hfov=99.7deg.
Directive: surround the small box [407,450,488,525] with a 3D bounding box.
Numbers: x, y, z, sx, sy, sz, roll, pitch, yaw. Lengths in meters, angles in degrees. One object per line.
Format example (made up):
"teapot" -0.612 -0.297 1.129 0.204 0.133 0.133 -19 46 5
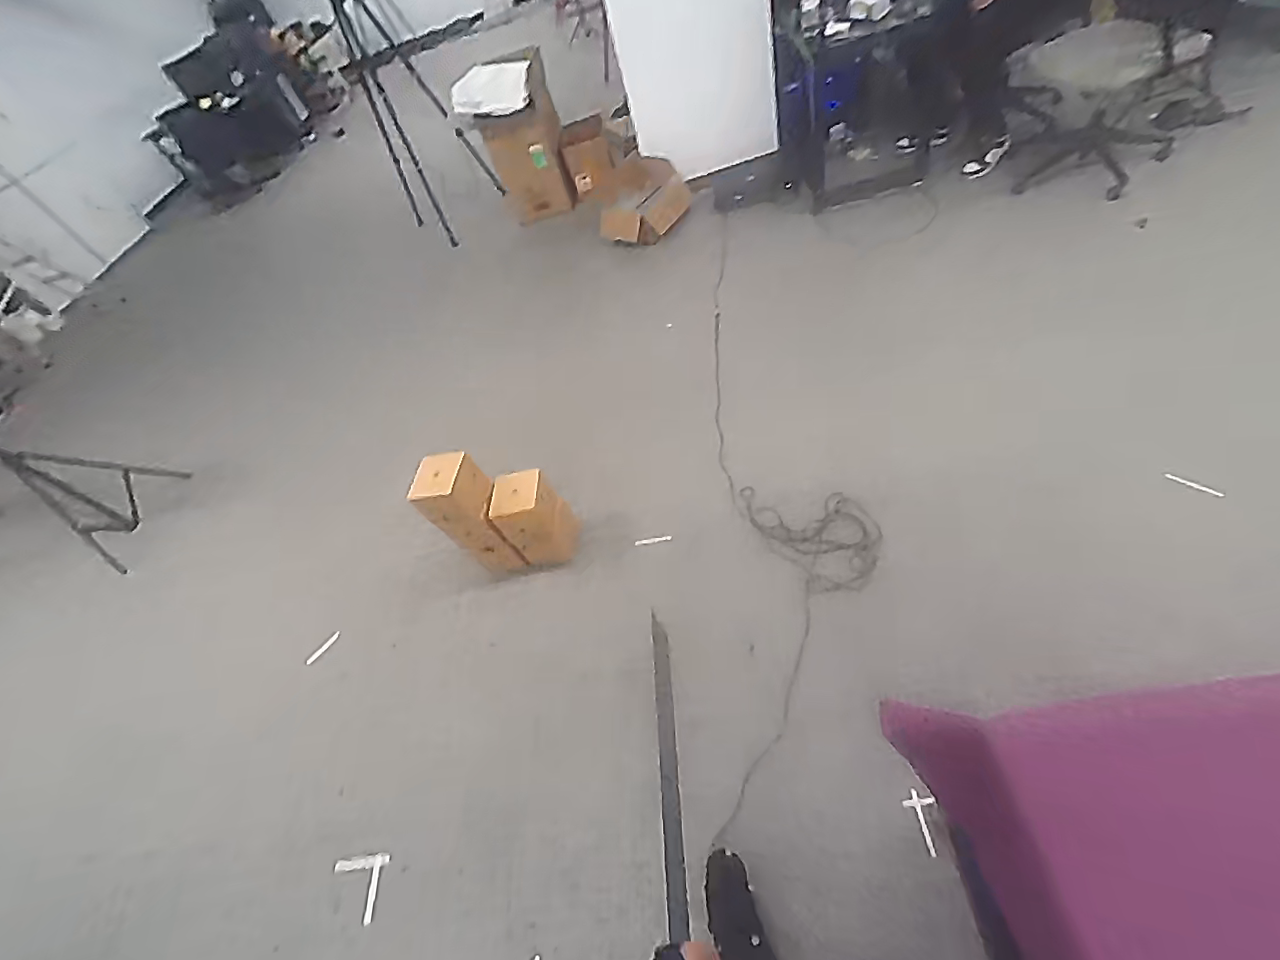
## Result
"small box" -0.622 0.027 1.777 0.168 0.176 0.179 -7 51 17
